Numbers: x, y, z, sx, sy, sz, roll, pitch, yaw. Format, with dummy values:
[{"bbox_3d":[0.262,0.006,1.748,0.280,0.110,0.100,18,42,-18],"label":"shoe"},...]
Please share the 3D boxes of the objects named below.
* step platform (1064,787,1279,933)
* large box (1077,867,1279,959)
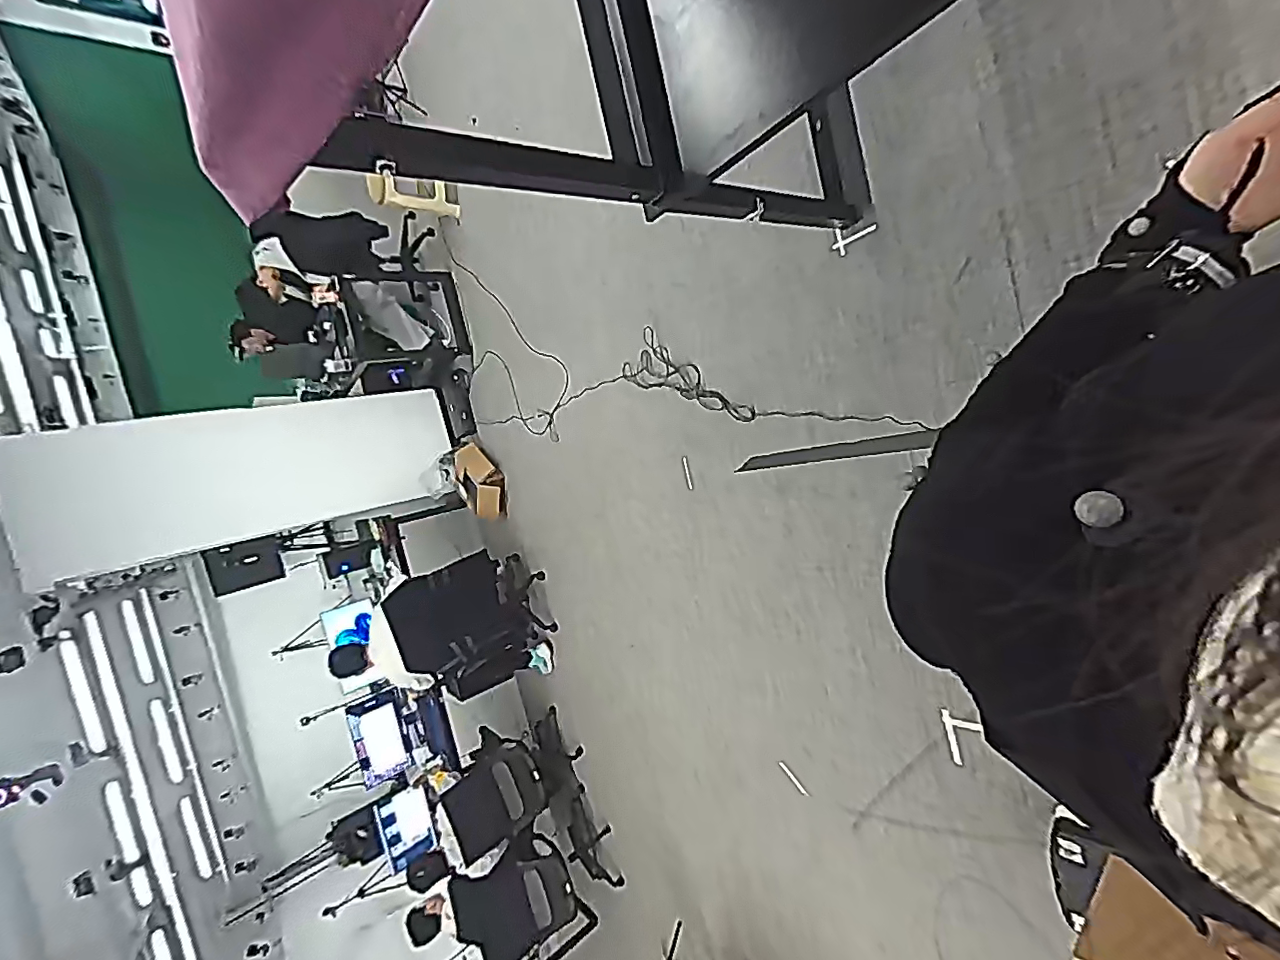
[{"bbox_3d":[1.273,0.924,1.070,0.684,0.204,0.286,1,103,51],"label":"step platform"},{"bbox_3d":[1.076,1.002,0.953,0.408,0.320,0.320,-7,97,52],"label":"large box"}]
